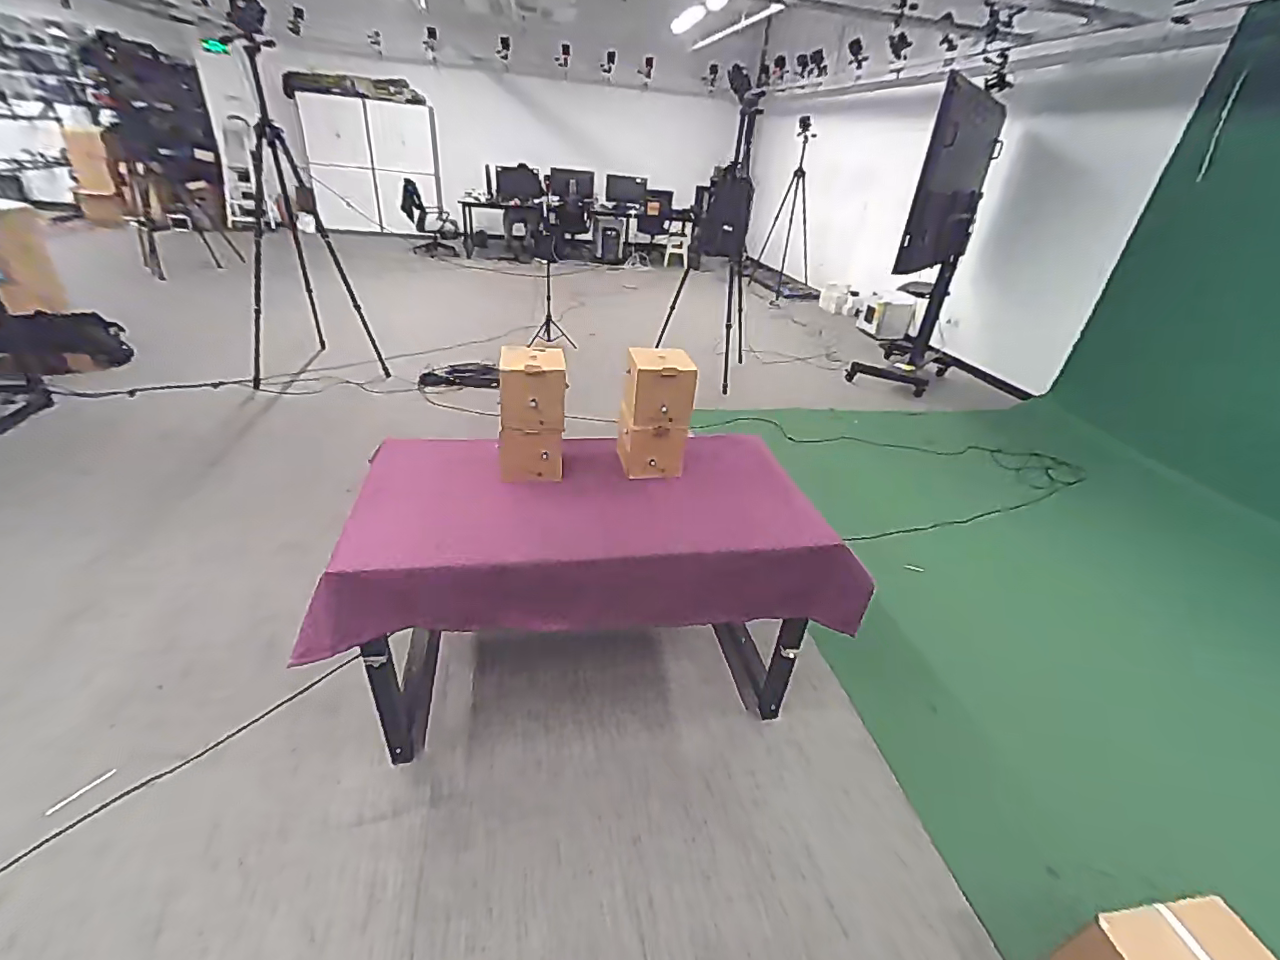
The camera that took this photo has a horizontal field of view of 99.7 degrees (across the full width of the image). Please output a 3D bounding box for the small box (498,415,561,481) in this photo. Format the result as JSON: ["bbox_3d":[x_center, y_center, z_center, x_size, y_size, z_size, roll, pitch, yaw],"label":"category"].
[{"bbox_3d":[-0.311,-0.106,1.531,0.168,0.176,0.179,-1,32,-12],"label":"small box"}]

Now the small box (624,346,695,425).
[{"bbox_3d":[0.048,-0.269,1.530,0.168,0.176,0.179,-2,33,-11],"label":"small box"}]

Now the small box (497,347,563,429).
[{"bbox_3d":[-0.291,-0.245,1.445,0.168,0.176,0.179,-1,32,-12],"label":"small box"}]

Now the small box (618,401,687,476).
[{"bbox_3d":[0.030,-0.125,1.609,0.168,0.176,0.179,-3,33,-13],"label":"small box"}]
